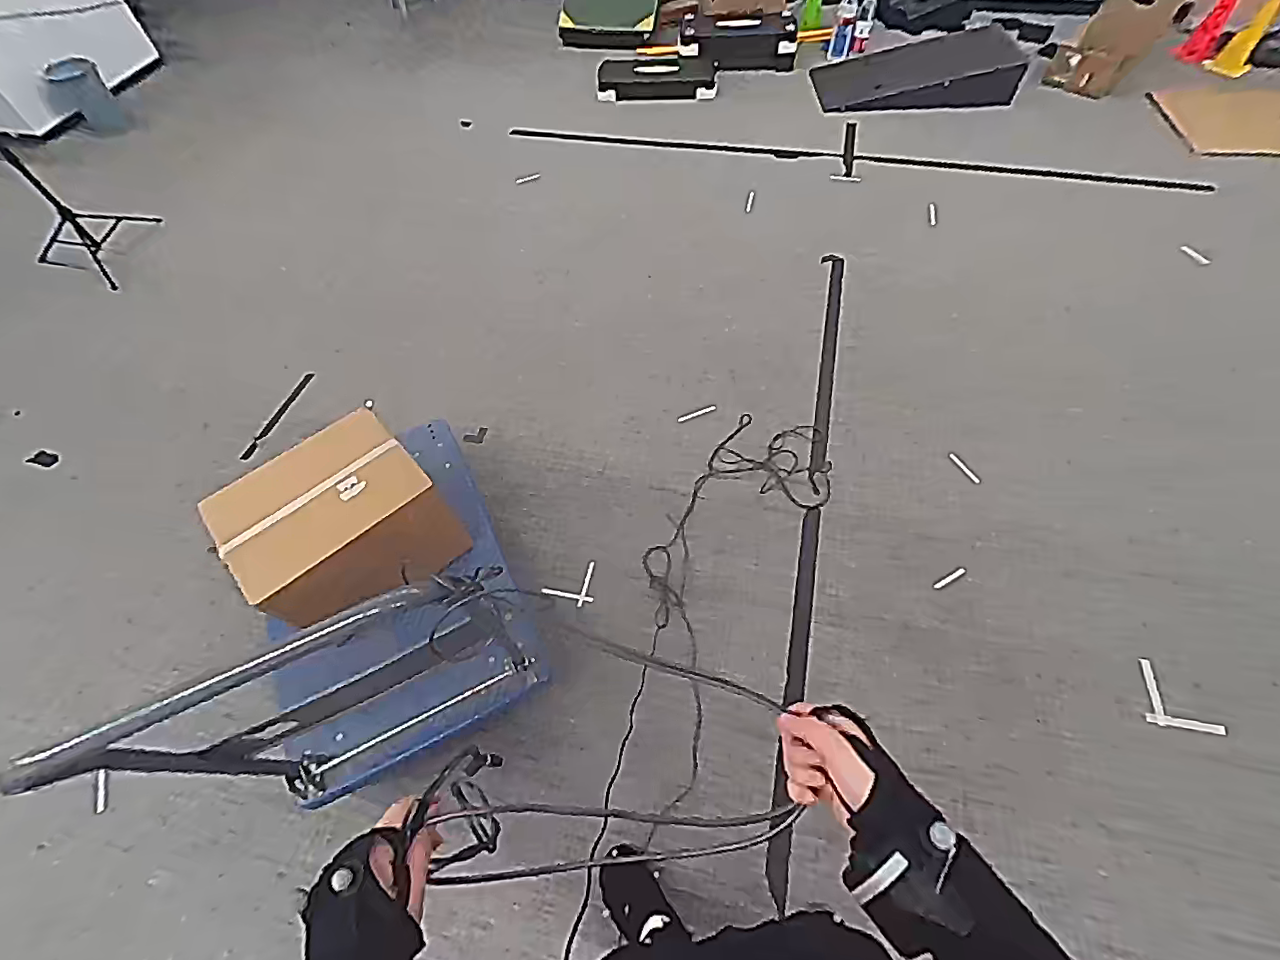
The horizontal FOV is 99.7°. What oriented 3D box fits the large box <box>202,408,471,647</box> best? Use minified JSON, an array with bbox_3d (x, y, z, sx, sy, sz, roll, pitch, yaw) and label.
[{"bbox_3d":[-0.686,0.115,1.281,0.408,0.320,0.320,-39,65,-20],"label":"large box"}]
